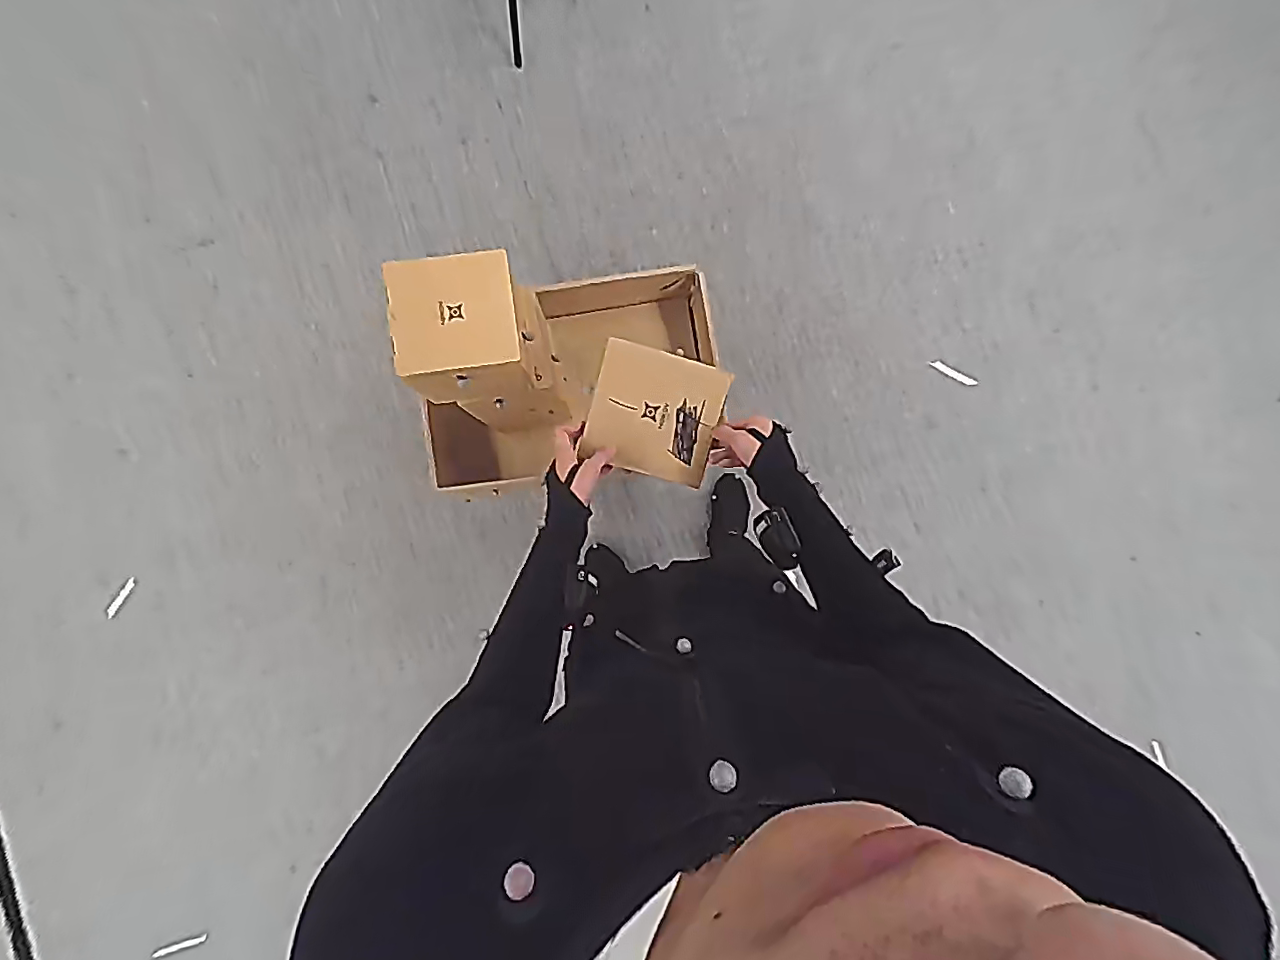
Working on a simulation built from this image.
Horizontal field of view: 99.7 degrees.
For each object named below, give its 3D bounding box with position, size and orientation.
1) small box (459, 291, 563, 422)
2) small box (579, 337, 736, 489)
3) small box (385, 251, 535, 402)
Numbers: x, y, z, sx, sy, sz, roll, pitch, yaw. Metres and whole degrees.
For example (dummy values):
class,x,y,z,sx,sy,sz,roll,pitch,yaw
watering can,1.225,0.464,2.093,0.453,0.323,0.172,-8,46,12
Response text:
class,x,y,z,sx,sy,sz,roll,pitch,yaw
small box,-0.244,-0.218,0.995,0.168,0.176,0.179,-12,86,-3
small box,0.016,-0.101,0.797,0.179,0.176,0.168,16,98,-8
small box,-0.262,-0.226,0.831,0.179,0.176,0.168,-9,86,-3
